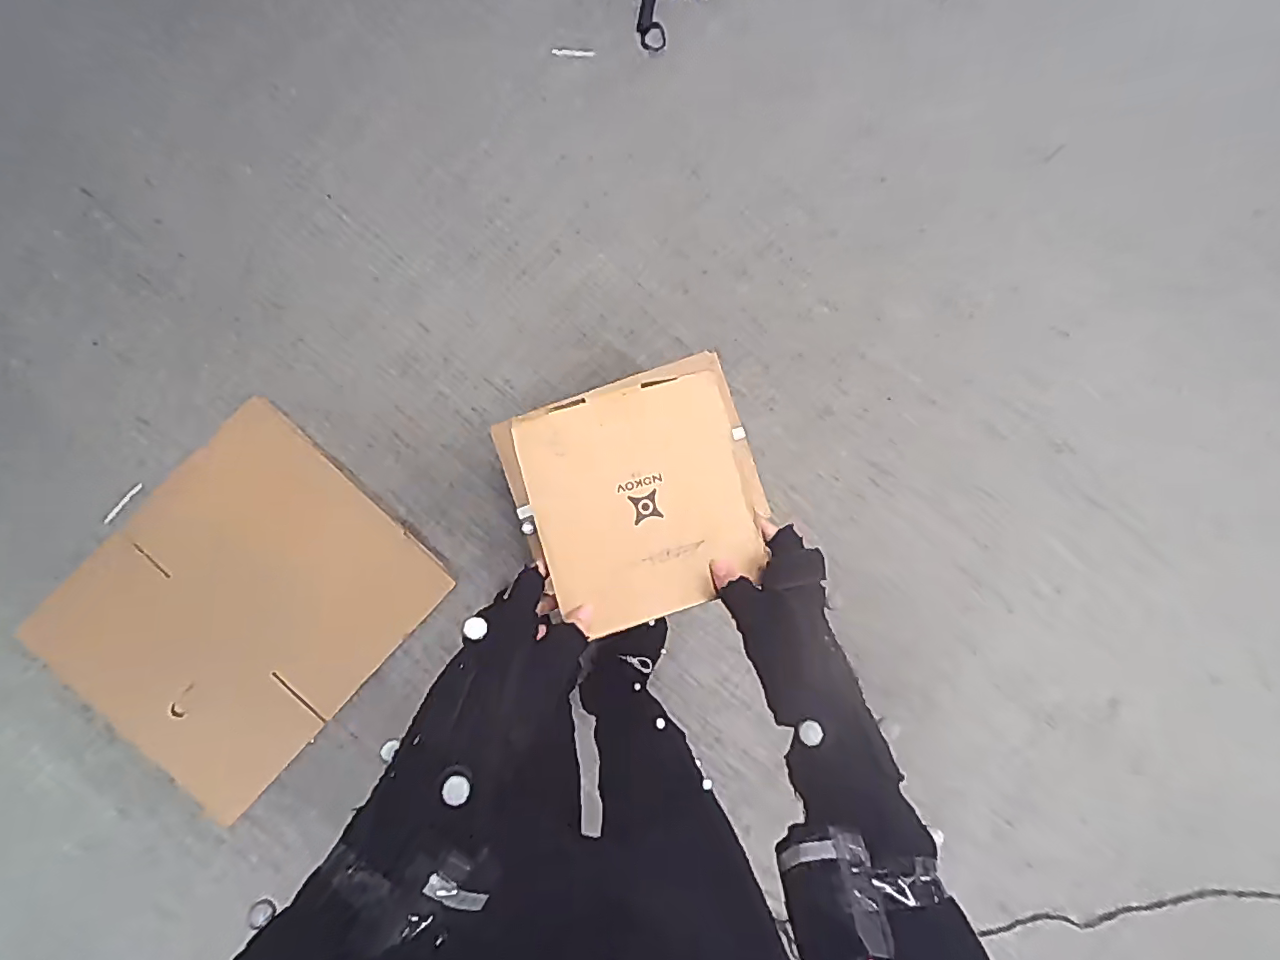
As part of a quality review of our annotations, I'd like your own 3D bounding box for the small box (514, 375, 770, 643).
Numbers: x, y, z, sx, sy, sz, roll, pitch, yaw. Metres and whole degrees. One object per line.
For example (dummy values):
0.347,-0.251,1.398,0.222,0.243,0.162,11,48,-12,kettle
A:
-0.007,0.025,0.497,0.168,0.176,0.179,-17,89,-7,small box
